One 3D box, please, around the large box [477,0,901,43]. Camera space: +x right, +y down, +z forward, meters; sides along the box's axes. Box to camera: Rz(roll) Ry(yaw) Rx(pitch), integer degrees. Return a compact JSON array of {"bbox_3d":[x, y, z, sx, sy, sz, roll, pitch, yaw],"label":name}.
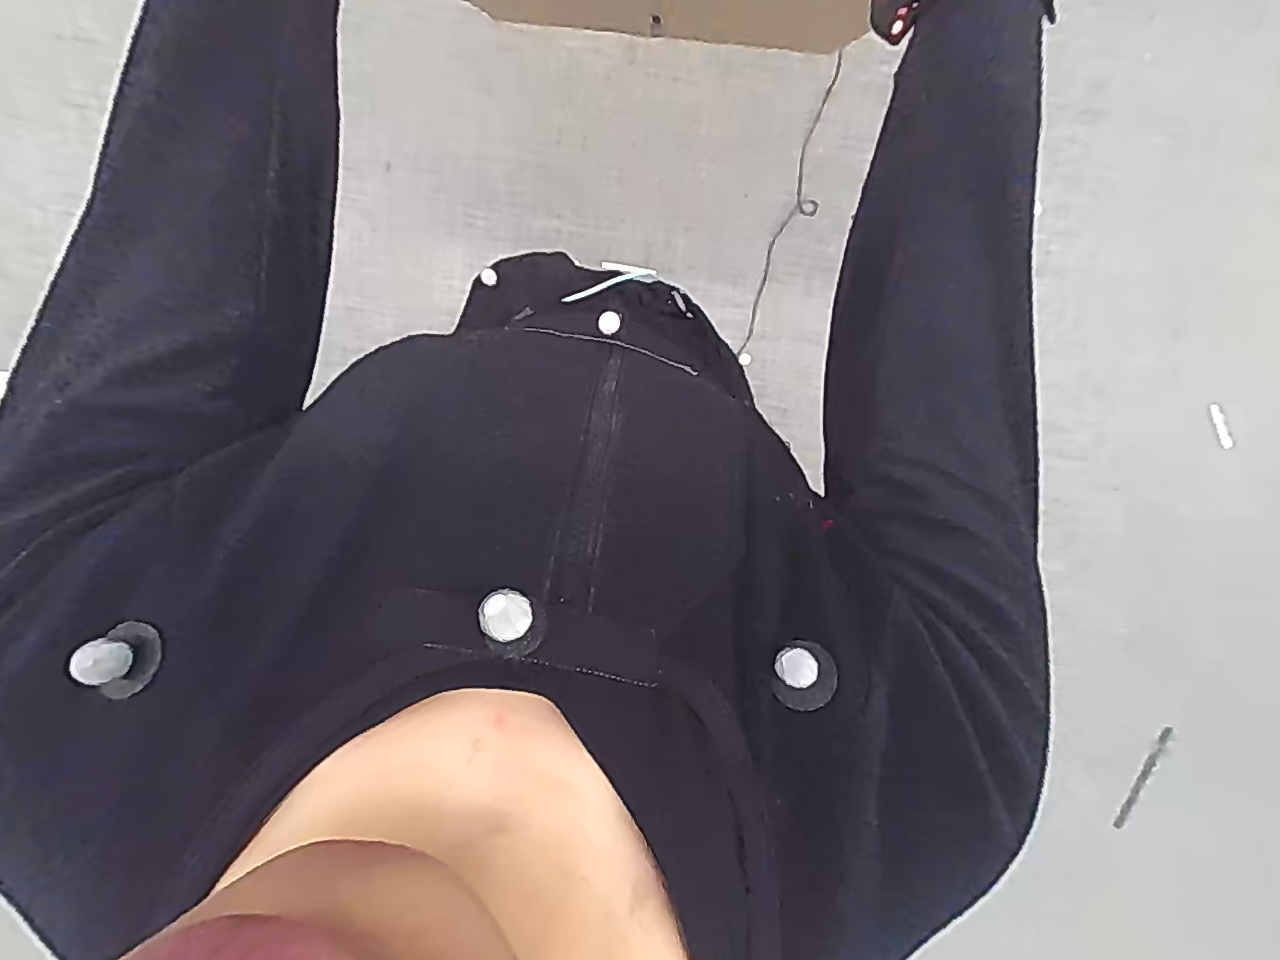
[{"bbox_3d":[0.032,-0.574,0.431,0.408,0.320,0.320,6,122,1],"label":"large box"}]
